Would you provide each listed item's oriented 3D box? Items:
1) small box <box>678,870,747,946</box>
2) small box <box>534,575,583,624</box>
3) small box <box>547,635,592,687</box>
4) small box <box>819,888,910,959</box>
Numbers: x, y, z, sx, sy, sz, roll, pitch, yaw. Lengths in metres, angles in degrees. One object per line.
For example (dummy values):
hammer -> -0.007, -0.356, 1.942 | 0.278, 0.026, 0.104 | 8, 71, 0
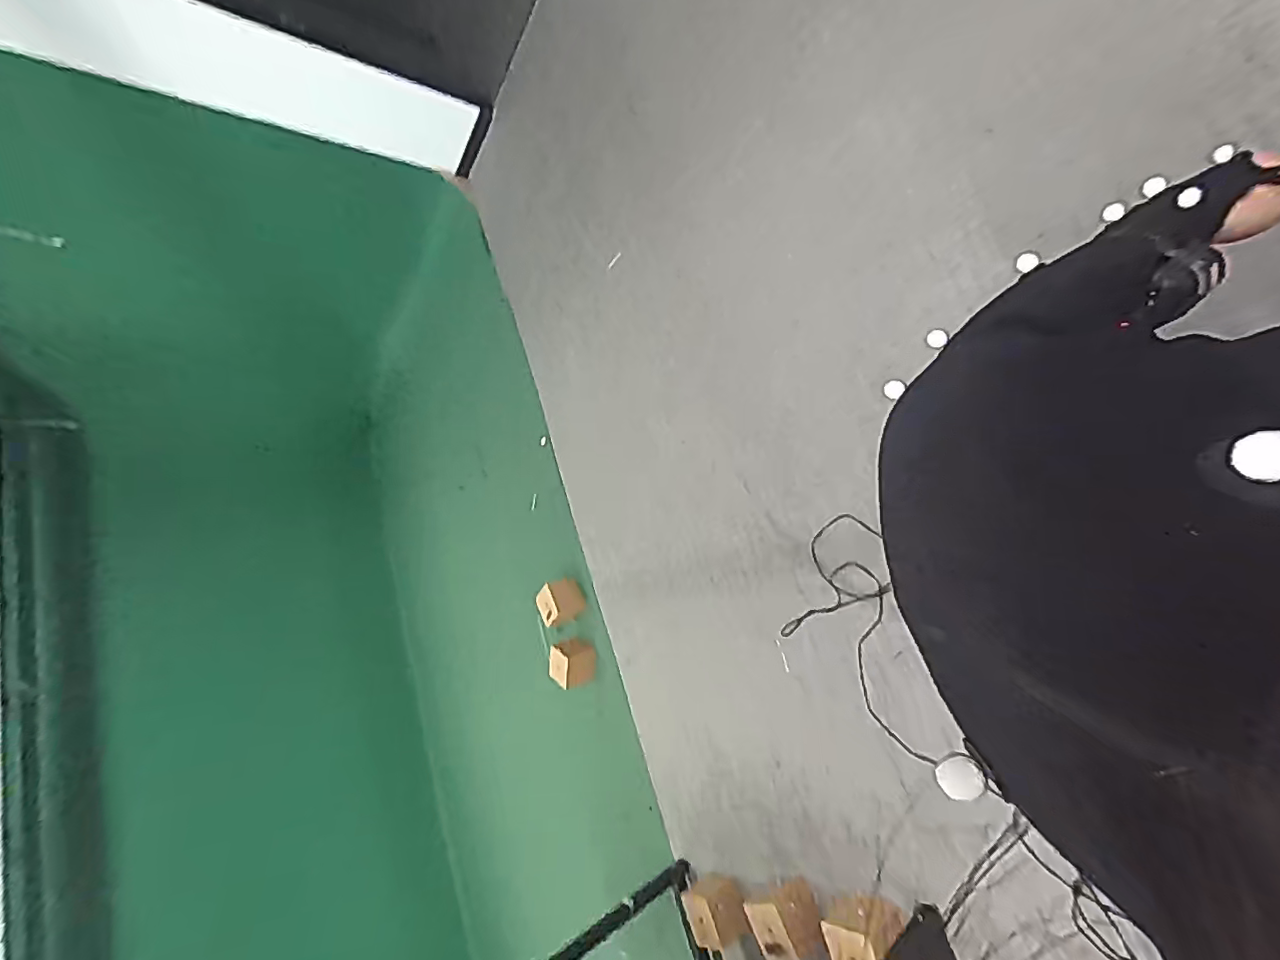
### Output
small box -> 0.284, 1.657, 2.105 | 0.168, 0.176, 0.179 | -40, 65, 45
small box -> -0.419, 0.614, 2.790 | 0.168, 0.176, 0.179 | -53, 56, 38
small box -> -0.357, 0.914, 2.756 | 0.168, 0.176, 0.179 | 18, 109, 48
small box -> 0.675, 1.376, 1.624 | 0.168, 0.176, 0.179 | -28, 74, 47
